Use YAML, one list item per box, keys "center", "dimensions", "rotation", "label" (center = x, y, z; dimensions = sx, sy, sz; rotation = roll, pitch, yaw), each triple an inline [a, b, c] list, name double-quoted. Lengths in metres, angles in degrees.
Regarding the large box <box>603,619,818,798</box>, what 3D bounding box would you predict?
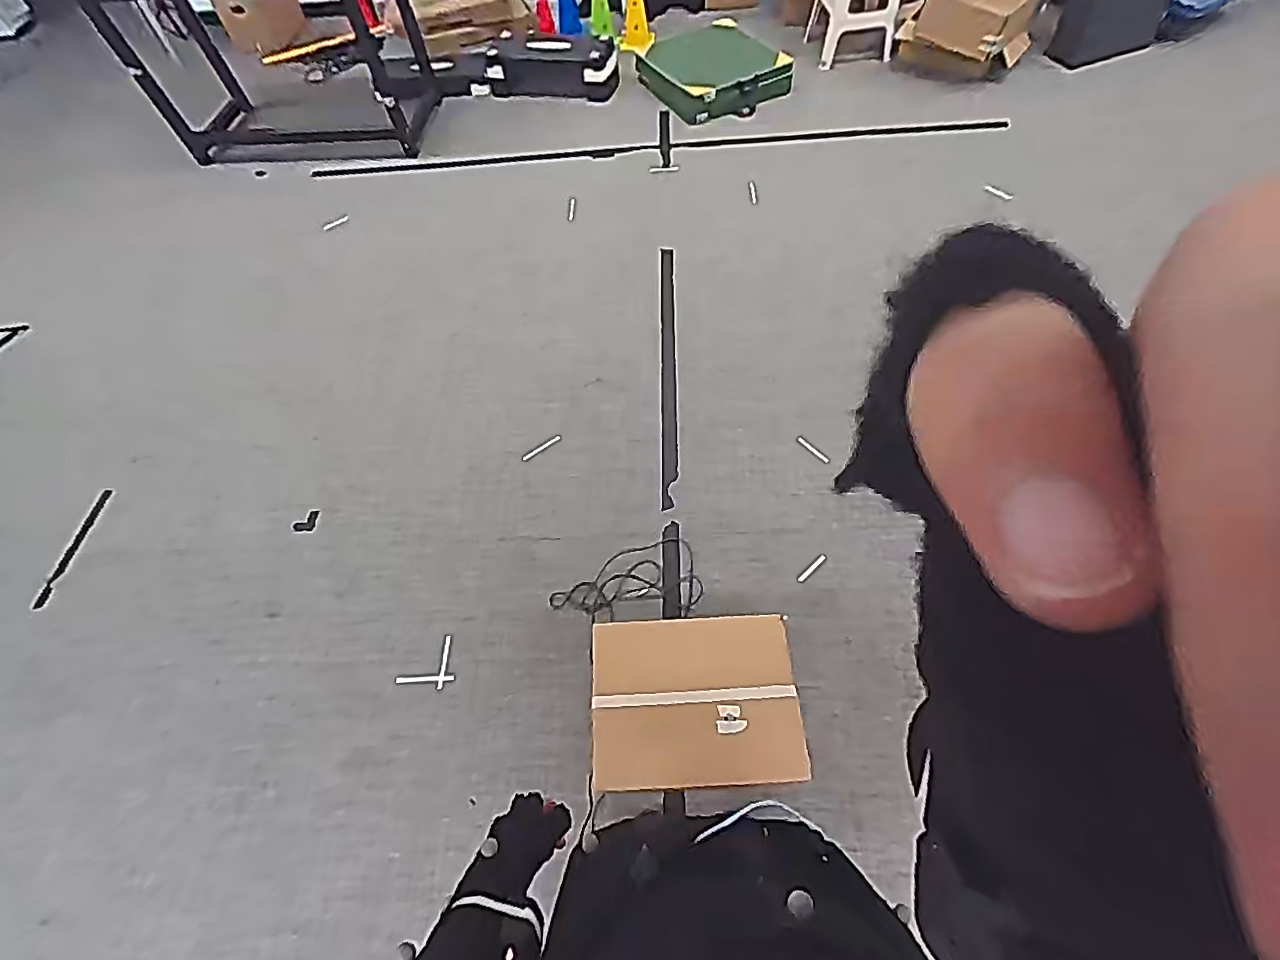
- center: [0.131, 0.516, 1.201]
  dimensions: [0.408, 0.320, 0.320]
  rotation: [-3, 59, 1]
  label: "large box"
